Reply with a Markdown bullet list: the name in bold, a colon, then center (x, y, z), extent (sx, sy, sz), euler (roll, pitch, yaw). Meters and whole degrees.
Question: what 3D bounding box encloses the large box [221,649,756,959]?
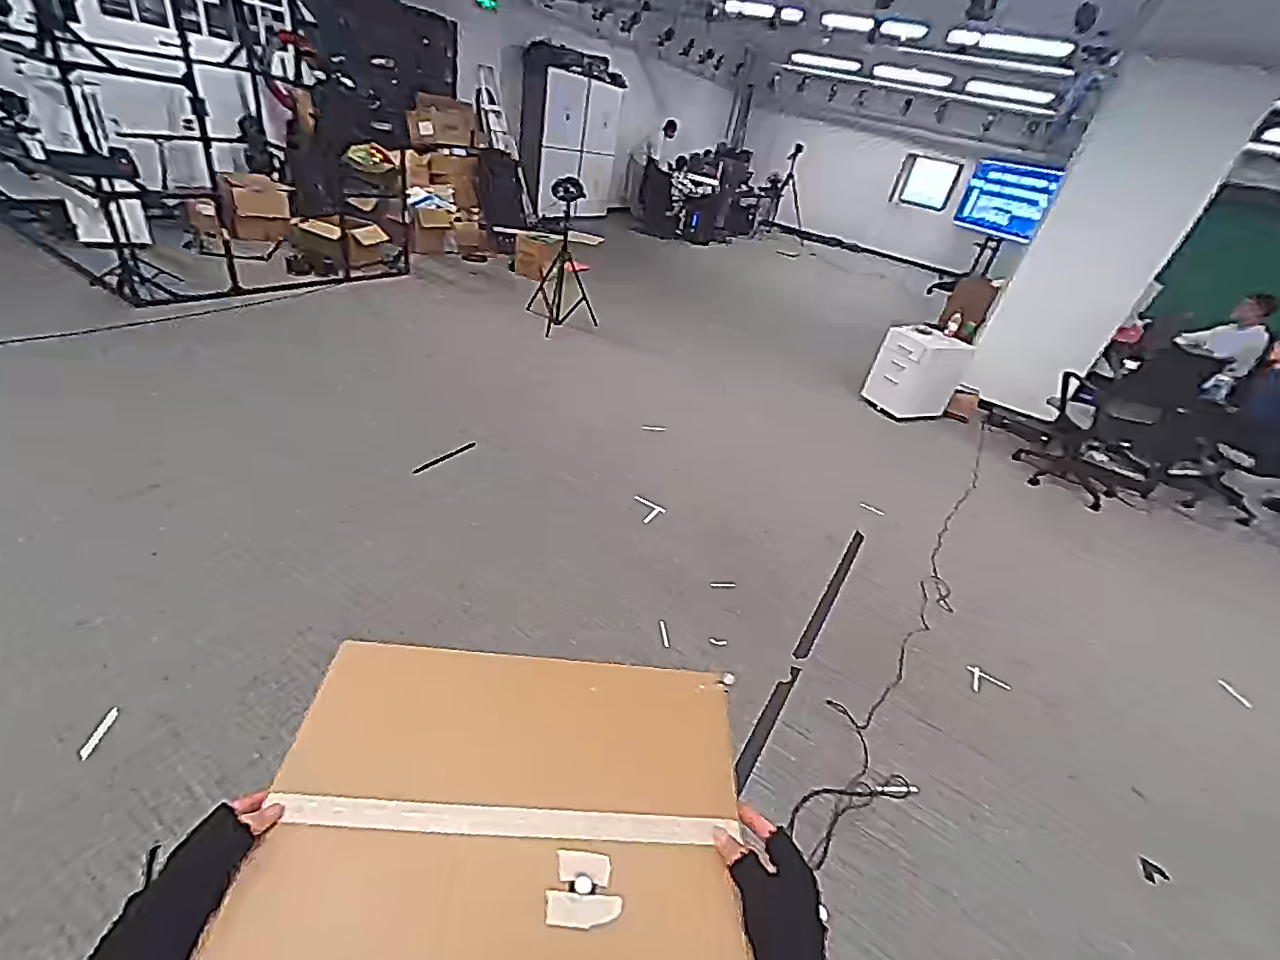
- **large box**: center (-0.126, 0.413, 0.571), extent (0.408, 0.320, 0.320), euler (8, 41, -5)
